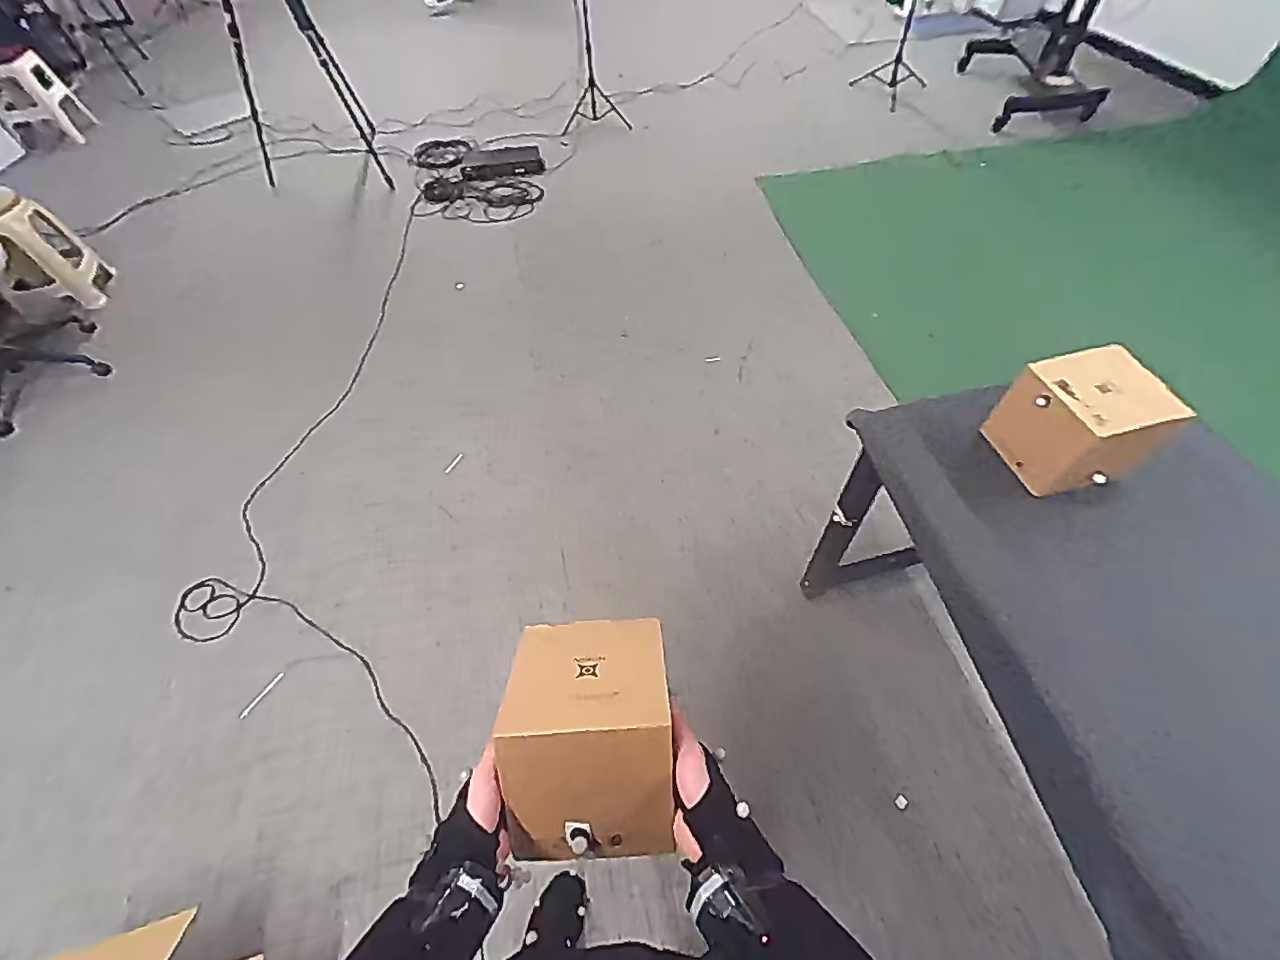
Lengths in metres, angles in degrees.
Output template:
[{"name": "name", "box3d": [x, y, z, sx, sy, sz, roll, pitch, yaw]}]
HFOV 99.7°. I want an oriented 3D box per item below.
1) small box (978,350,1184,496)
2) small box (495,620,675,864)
[{"name": "small box", "box3d": [0.738, -0.094, 0.930, 0.179, 0.176, 0.168, -12, 55, -8]}, {"name": "small box", "box3d": [-0.050, 0.275, 0.593, 0.168, 0.176, 0.179, -3, 20, -1]}]
